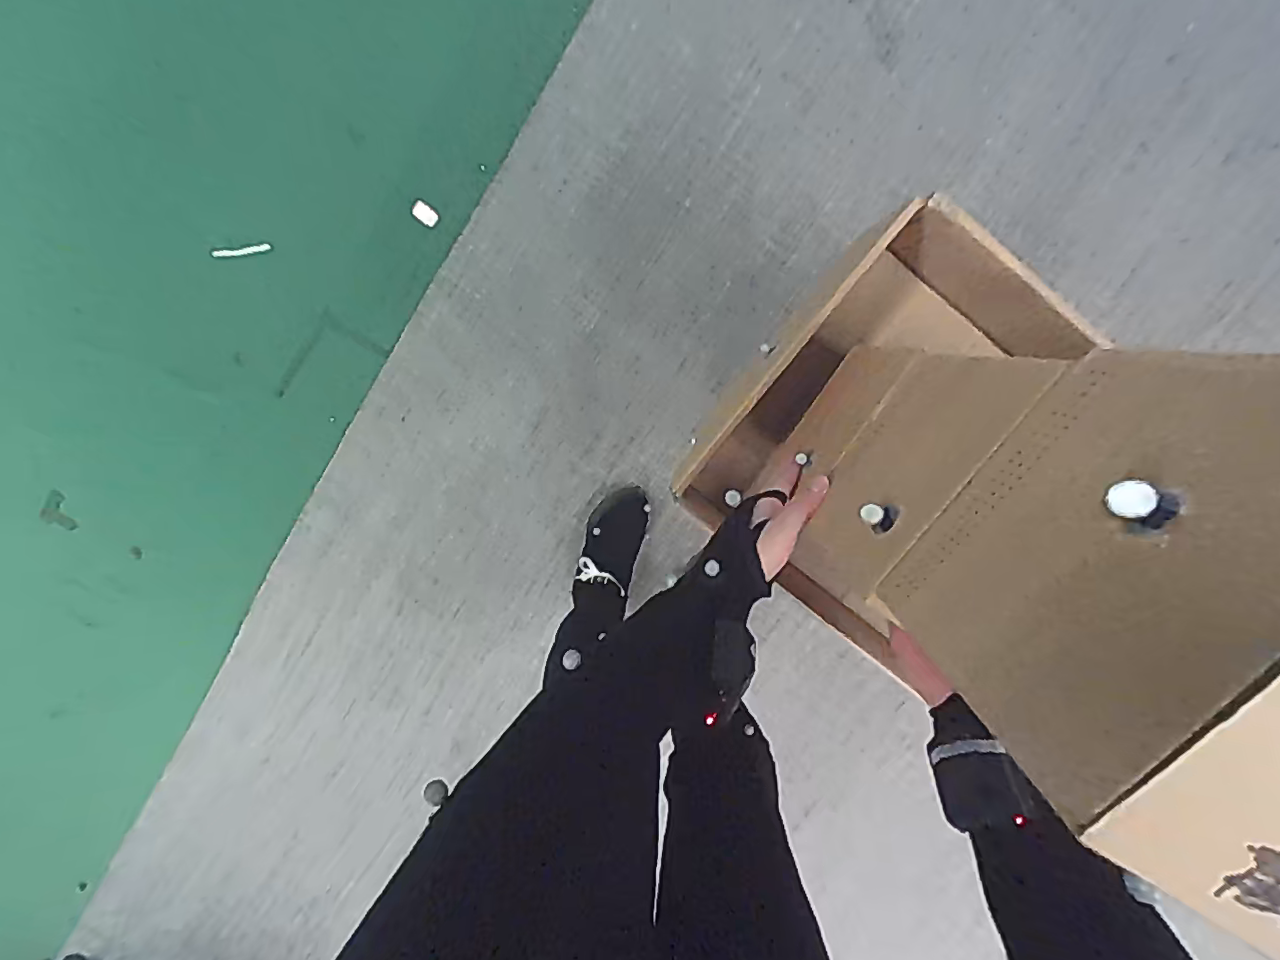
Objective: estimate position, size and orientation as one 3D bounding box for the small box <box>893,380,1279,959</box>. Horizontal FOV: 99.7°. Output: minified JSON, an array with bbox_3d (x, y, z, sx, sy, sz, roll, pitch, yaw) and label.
[{"bbox_3d":[0.247,0.072,0.229,0.168,0.176,0.179,33,103,-4],"label":"small box"}]
